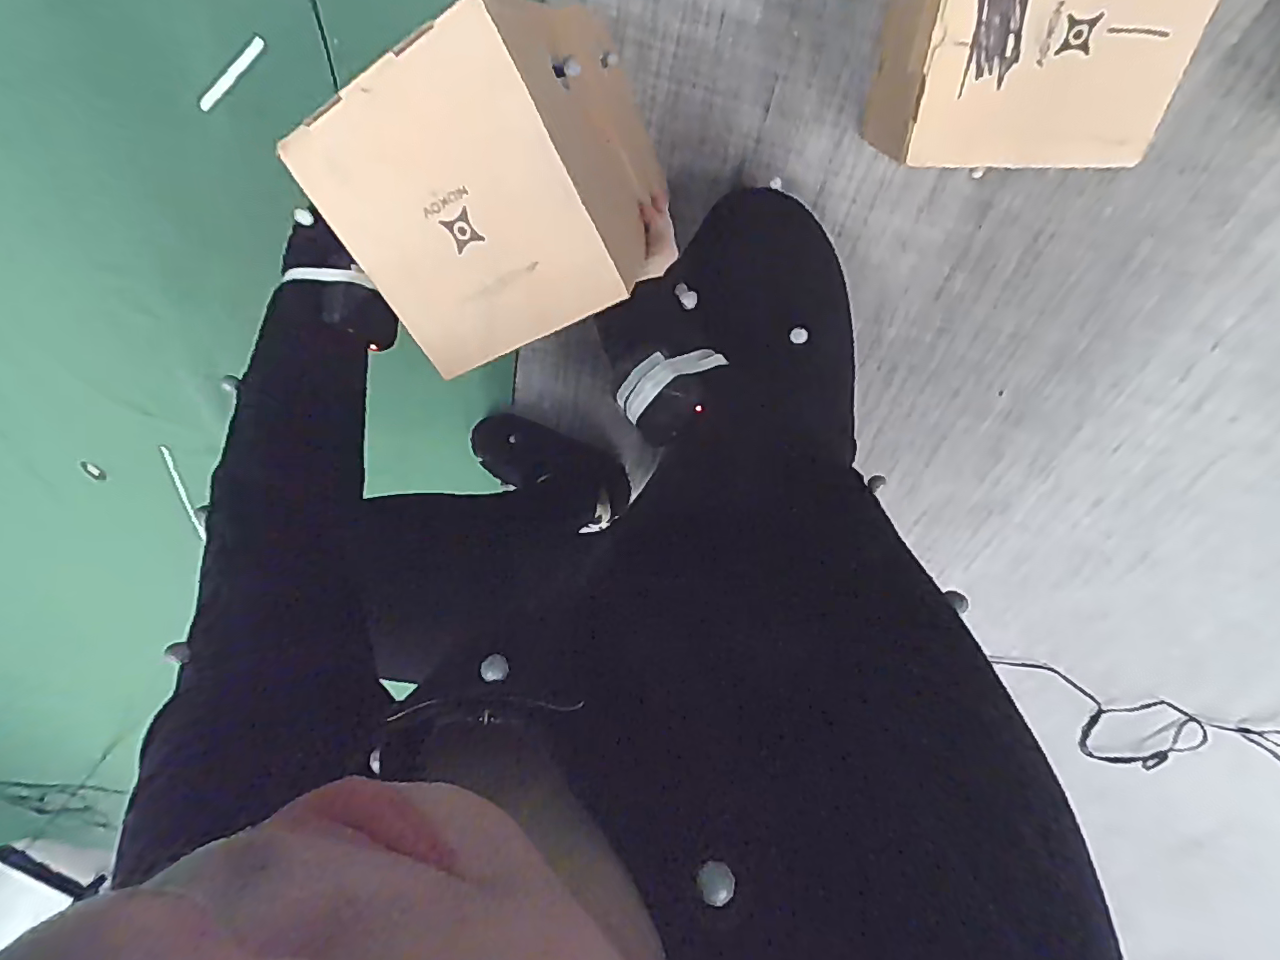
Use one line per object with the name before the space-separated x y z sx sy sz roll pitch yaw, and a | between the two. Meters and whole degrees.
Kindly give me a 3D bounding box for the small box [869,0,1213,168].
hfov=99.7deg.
small box | 0.305 -0.361 0.440 0.179 0.176 0.168 4 129 6
